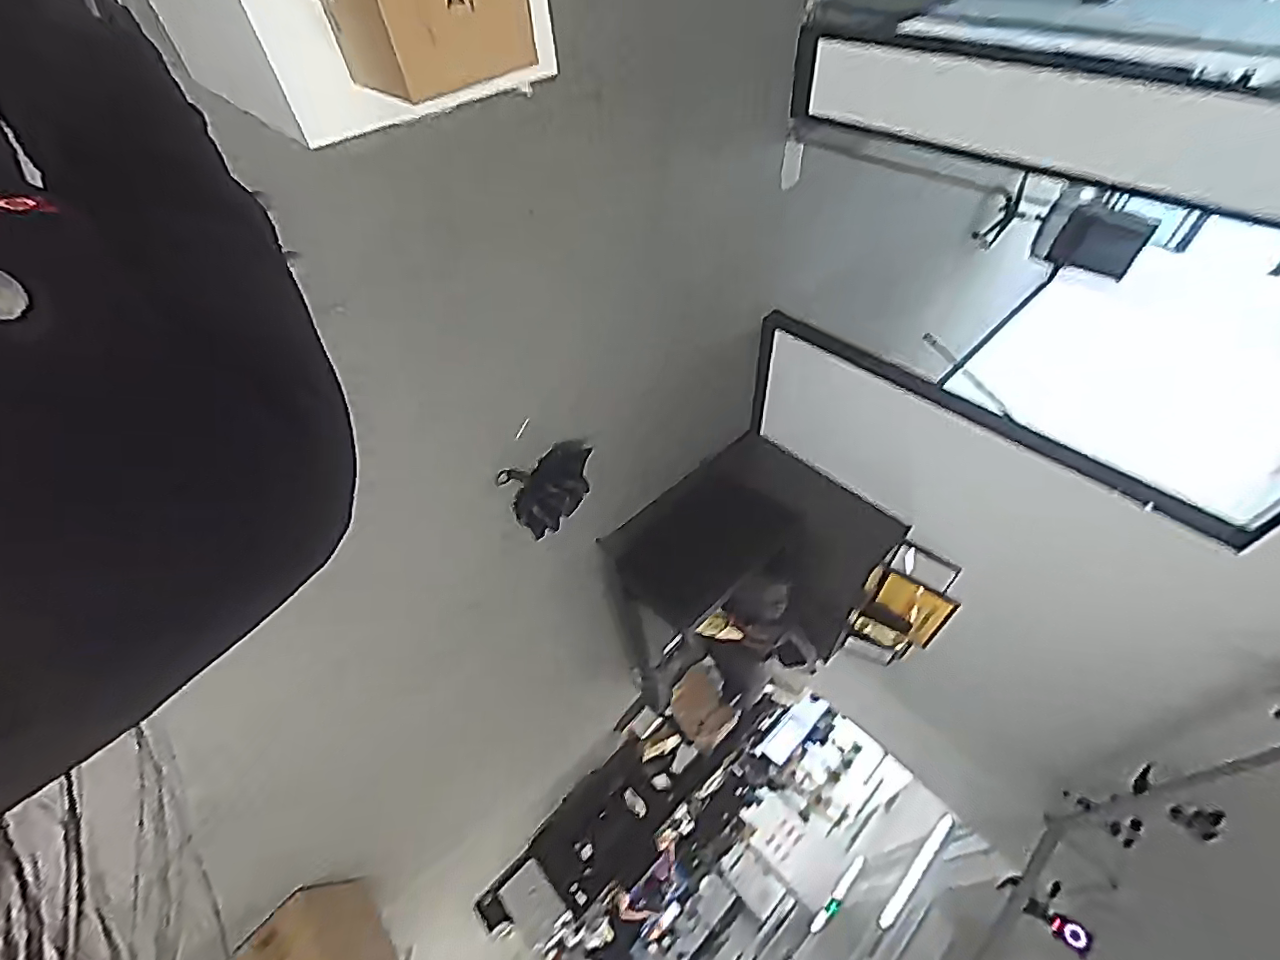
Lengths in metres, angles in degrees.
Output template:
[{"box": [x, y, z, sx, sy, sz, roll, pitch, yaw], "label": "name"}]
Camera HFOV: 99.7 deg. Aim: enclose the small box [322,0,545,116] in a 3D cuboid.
[{"box": [-0.237, -0.536, 0.598, 0.179, 0.176, 0.168, -37, 145, -21], "label": "small box"}]
